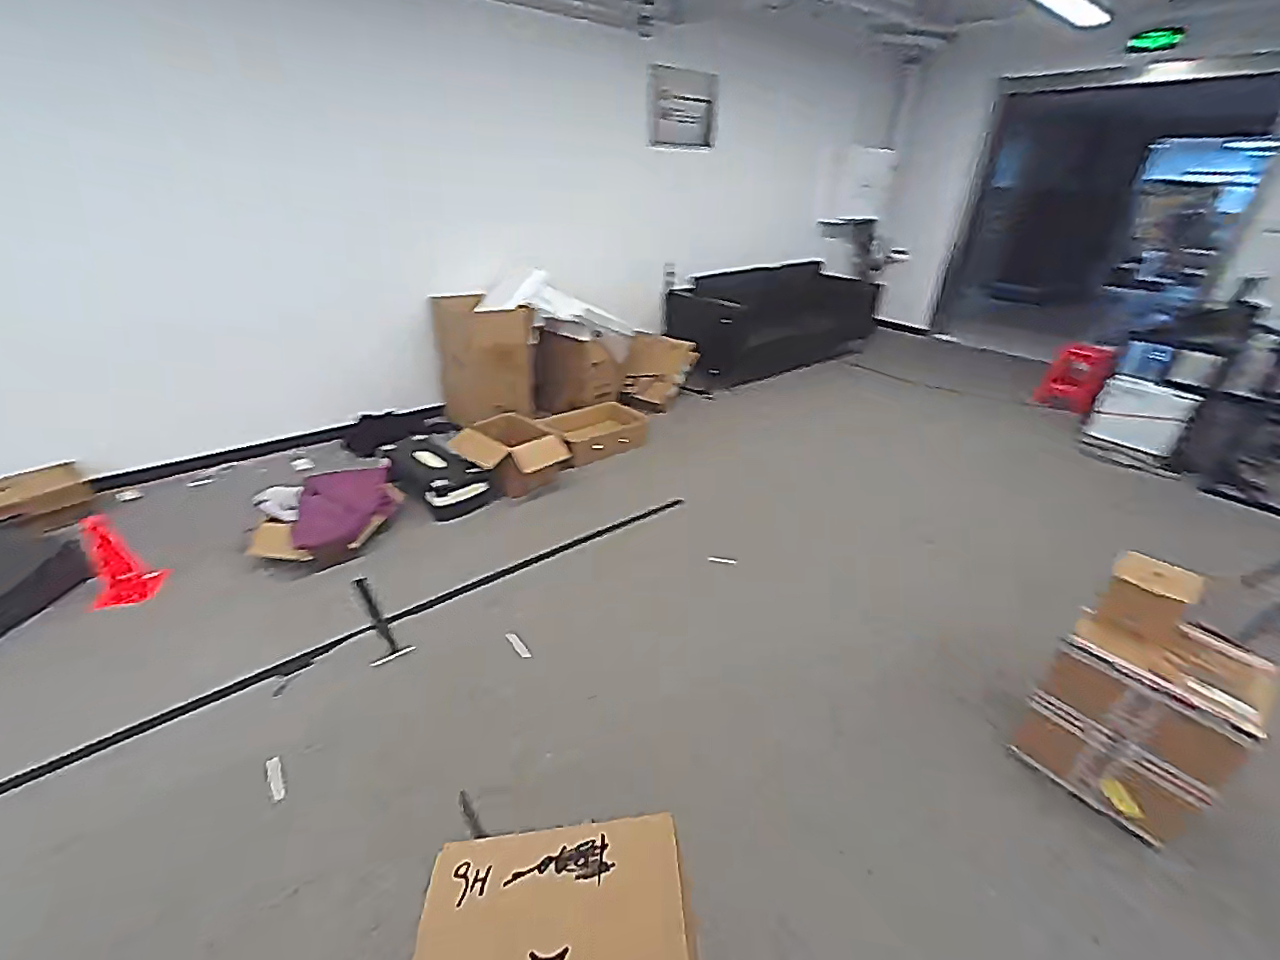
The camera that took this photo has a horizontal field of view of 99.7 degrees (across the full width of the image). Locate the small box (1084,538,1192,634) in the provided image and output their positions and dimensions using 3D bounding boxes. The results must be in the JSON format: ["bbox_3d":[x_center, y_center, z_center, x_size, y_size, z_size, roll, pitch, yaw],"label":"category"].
[{"bbox_3d":[1.398,0.297,1.524,0.179,0.176,0.168,-25,36,-34],"label":"small box"}]
